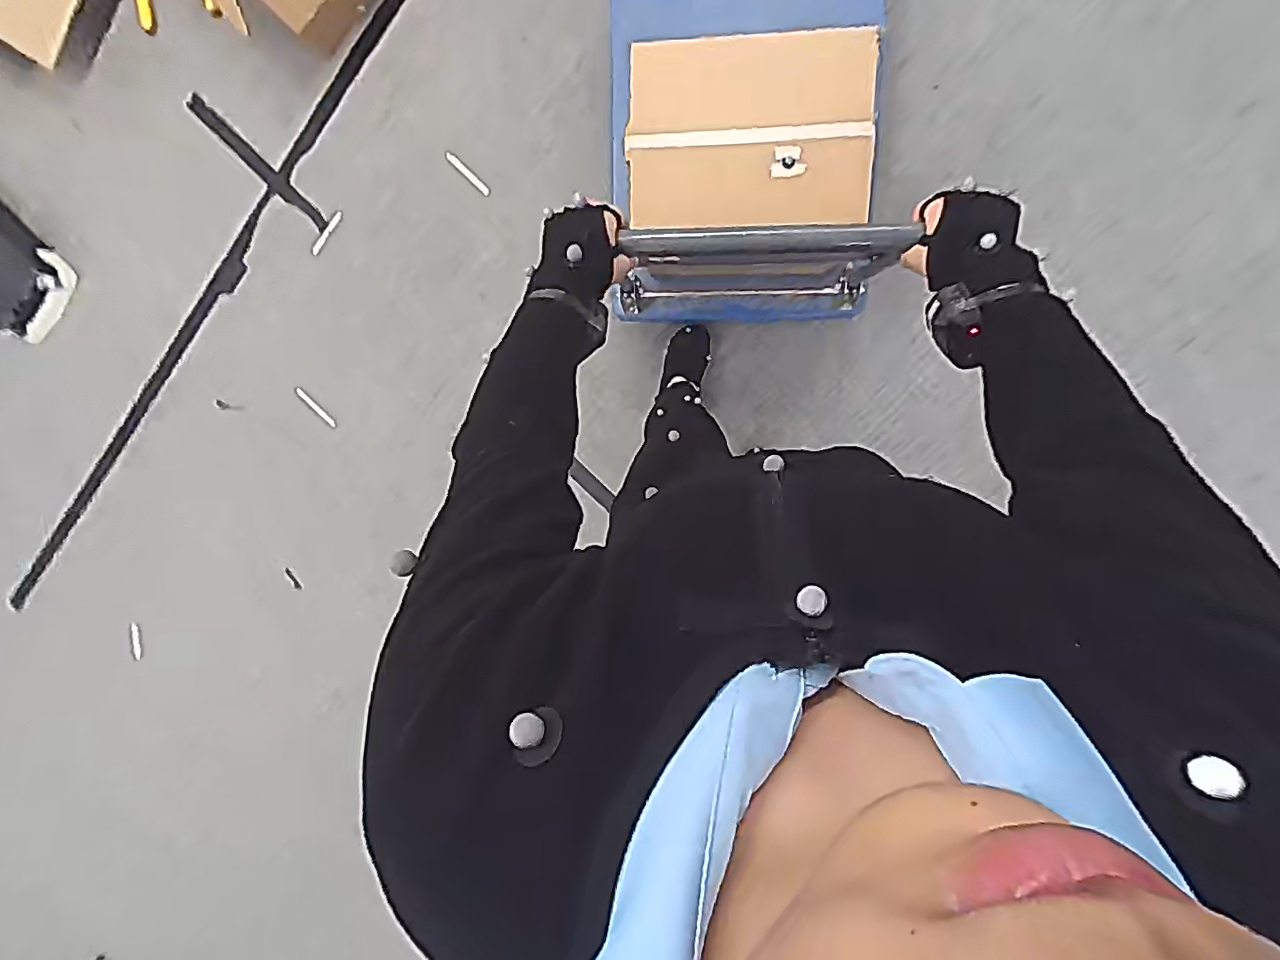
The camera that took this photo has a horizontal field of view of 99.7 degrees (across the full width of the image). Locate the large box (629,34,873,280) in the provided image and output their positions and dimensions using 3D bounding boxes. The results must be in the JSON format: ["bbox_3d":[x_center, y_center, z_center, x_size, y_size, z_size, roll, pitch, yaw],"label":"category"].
[{"bbox_3d":[0.195,-0.590,1.059,0.408,0.320,0.320,1,99,6],"label":"large box"}]
